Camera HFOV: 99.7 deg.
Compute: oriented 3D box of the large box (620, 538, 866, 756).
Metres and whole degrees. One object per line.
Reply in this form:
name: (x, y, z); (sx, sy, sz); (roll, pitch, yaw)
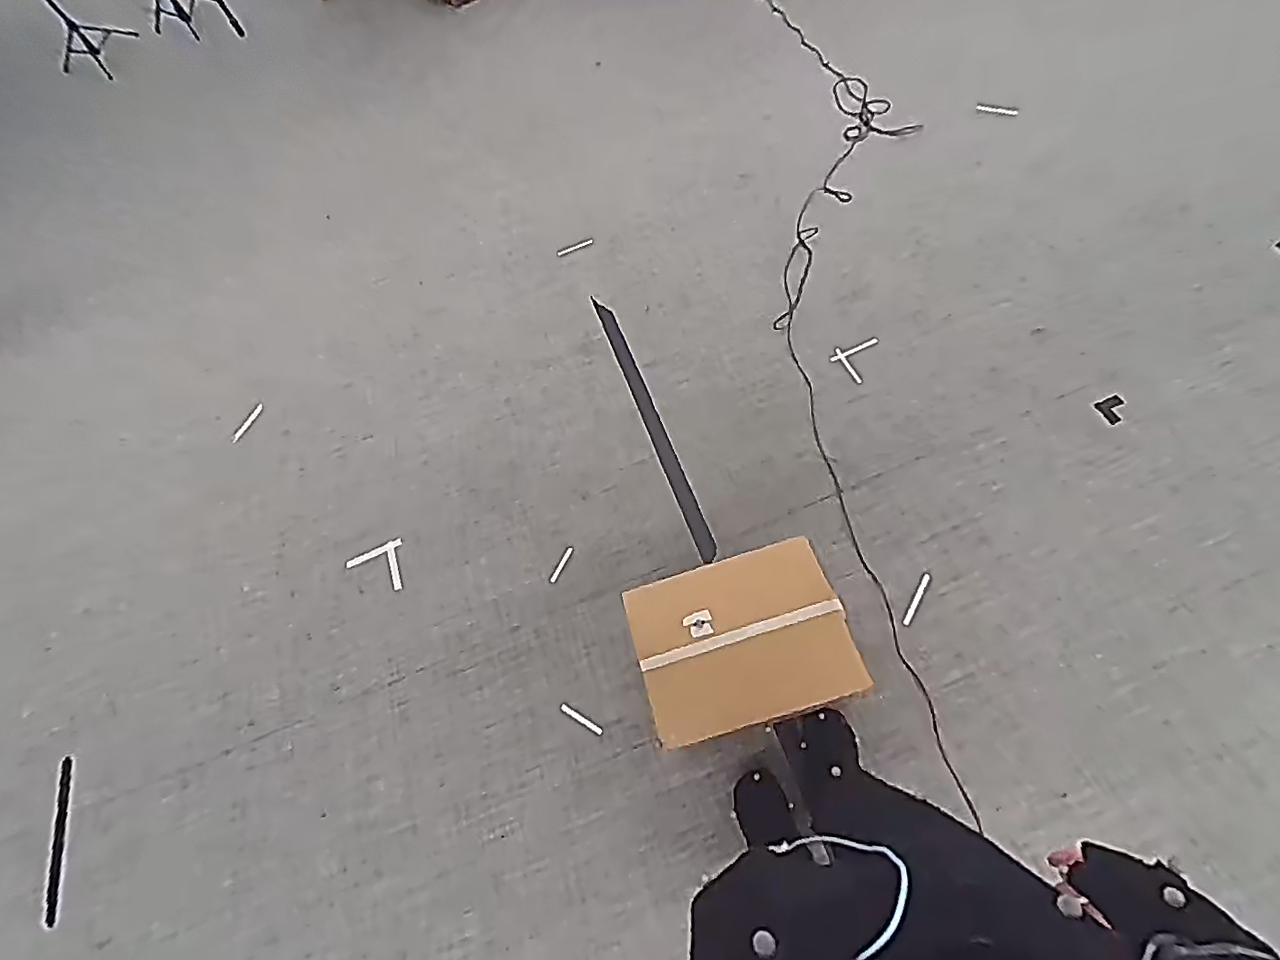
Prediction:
large box: (0.214, 0.374, 1.184); (0.408, 0.320, 0.320); (-19, 61, 3)
